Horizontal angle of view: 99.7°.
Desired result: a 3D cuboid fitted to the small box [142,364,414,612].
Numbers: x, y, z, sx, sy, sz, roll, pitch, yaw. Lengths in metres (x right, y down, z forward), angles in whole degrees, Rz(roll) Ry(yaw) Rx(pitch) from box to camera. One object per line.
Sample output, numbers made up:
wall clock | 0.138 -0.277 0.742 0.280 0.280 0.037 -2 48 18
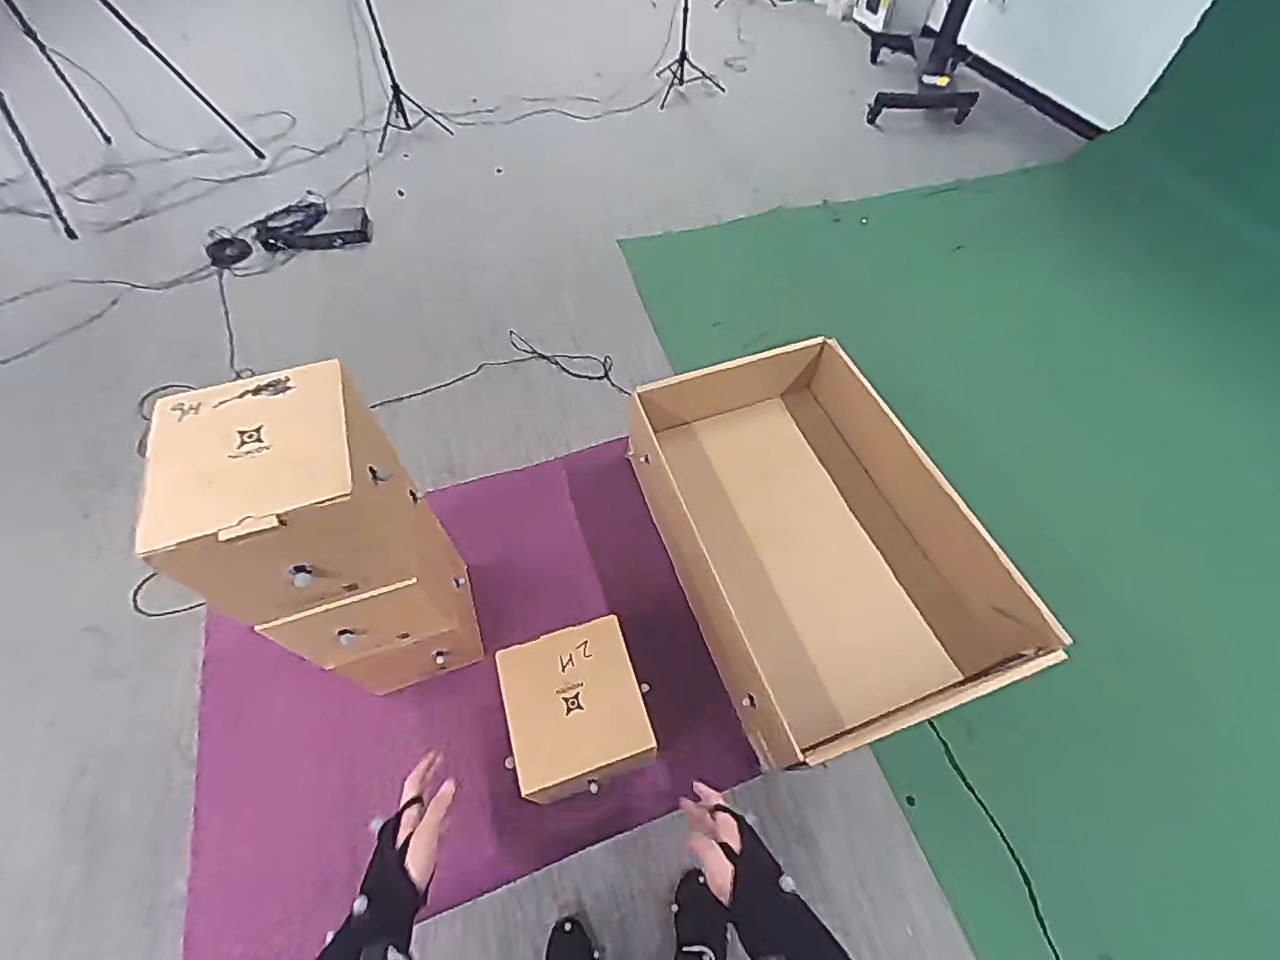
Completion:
small box | -0.345 0.018 0.549 0.168 0.176 0.179 -17 59 -12

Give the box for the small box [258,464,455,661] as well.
small box | -0.347 0.112 0.683 0.168 0.176 0.179 -16 58 -12

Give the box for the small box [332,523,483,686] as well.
small box | -0.349 0.197 0.821 0.168 0.176 0.179 -16 58 -12
